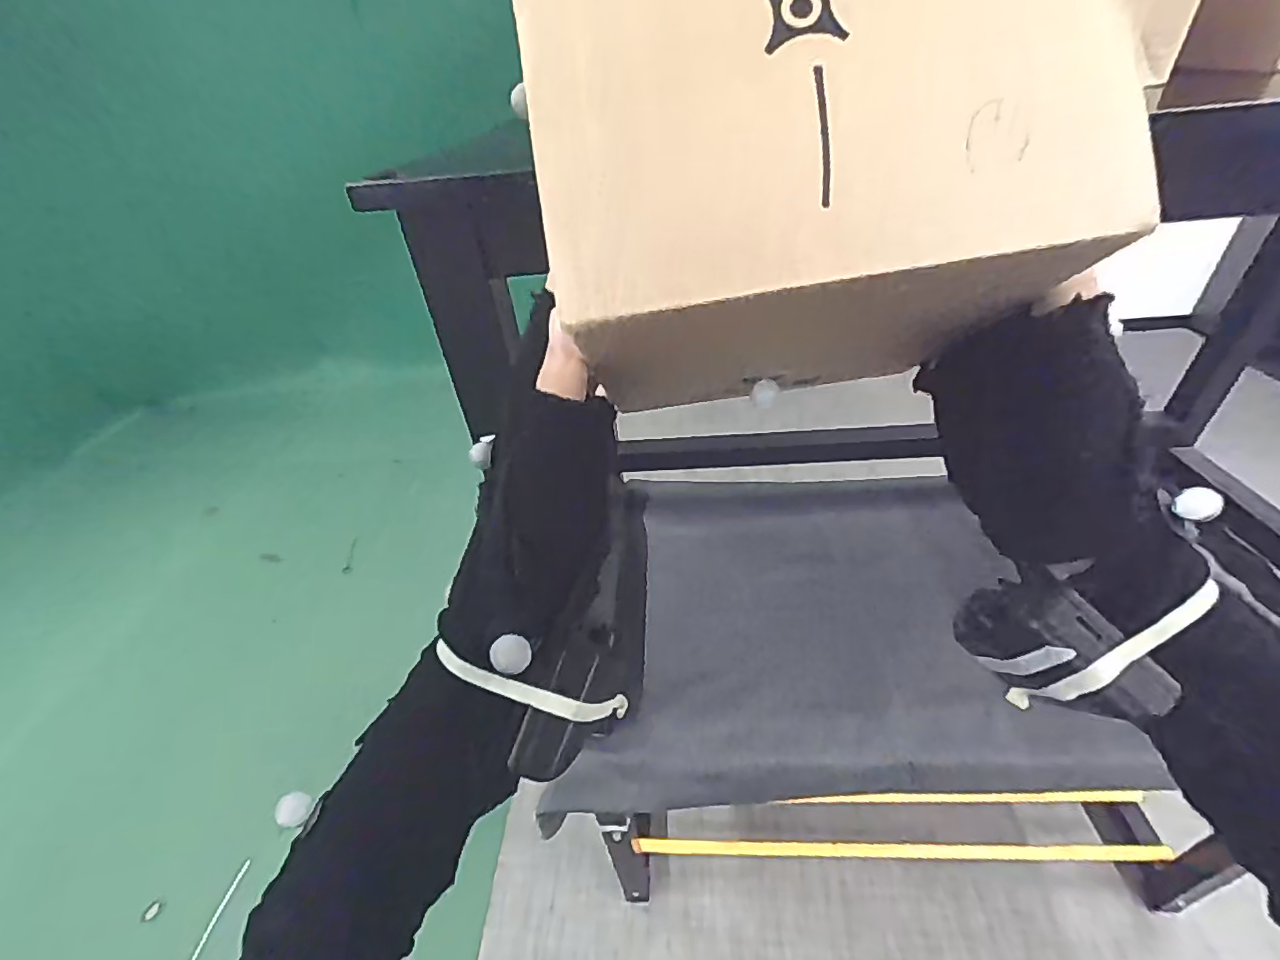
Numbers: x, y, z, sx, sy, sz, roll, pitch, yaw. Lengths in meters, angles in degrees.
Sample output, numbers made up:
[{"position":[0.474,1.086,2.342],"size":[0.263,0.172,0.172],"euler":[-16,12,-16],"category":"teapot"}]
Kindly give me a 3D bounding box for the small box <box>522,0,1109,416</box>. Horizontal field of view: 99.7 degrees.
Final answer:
[{"position":[0.050,-0.136,0.245],"size":[0.168,0.179,0.176],"euler":[-8,-2,4],"category":"small box"}]
